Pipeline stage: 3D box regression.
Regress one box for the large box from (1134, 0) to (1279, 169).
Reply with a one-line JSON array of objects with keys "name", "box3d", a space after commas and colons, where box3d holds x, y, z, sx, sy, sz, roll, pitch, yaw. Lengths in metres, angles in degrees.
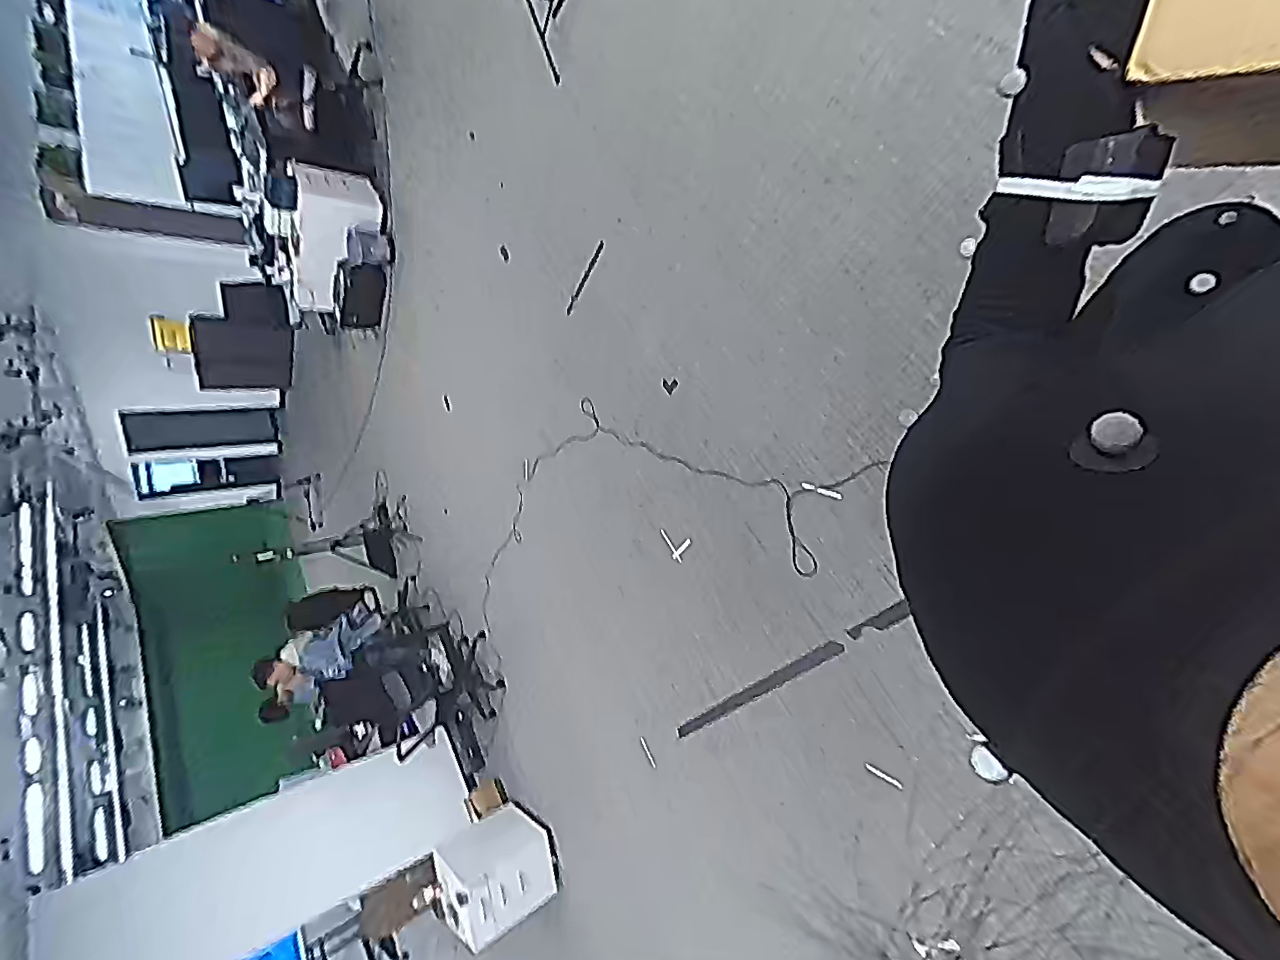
[{"name": "large box", "box3d": [0.545, -0.349, 0.242, 0.408, 0.320, 0.320, 24, 120, 39]}]
